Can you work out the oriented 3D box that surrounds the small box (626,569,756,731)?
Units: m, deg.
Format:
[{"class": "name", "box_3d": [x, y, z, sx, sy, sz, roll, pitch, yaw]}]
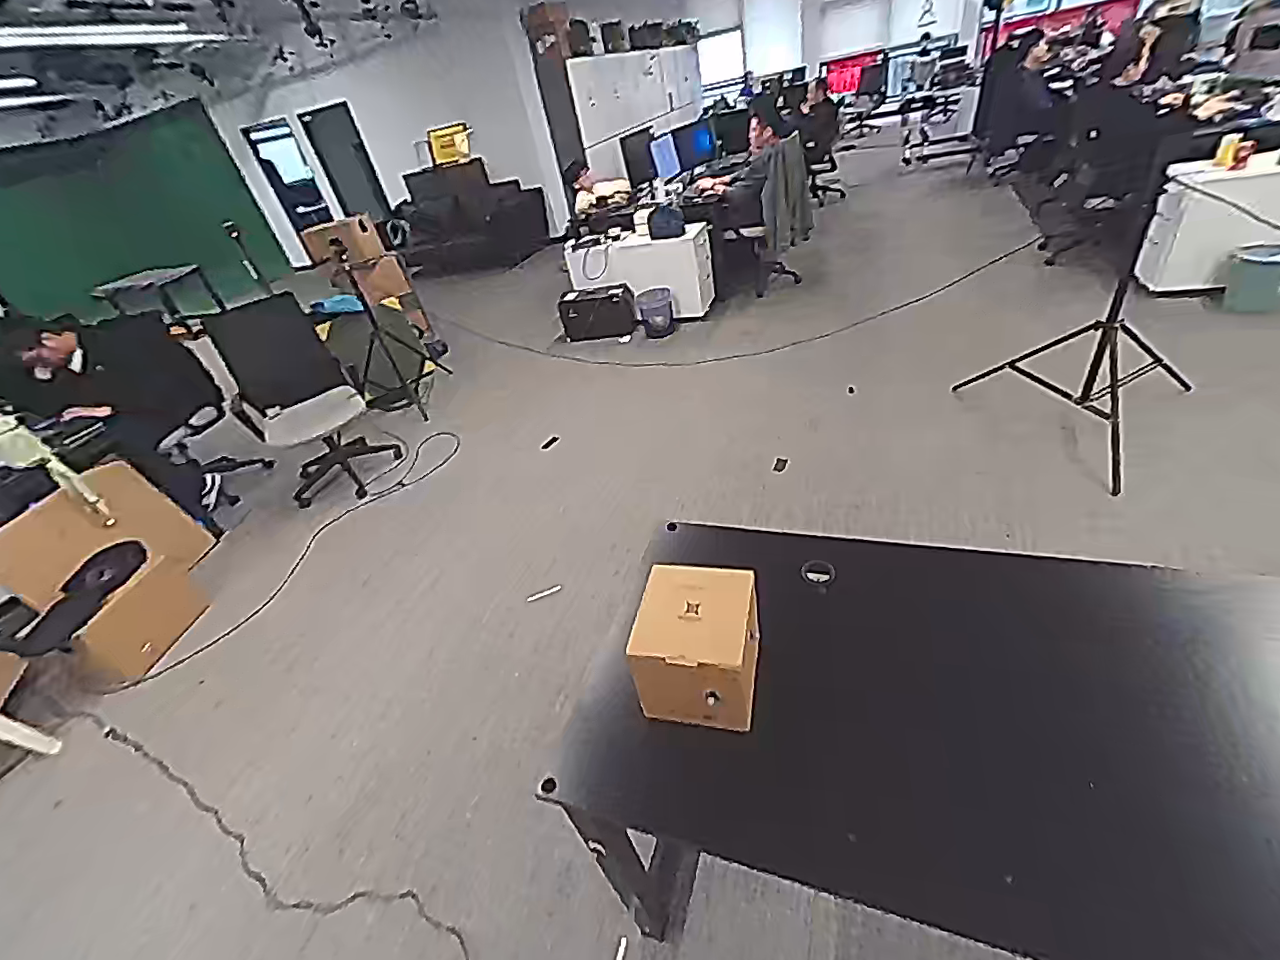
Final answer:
[{"class": "small box", "box_3d": [0.091, 0.263, 0.846, 0.168, 0.176, 0.179, 1, 37, 17]}]
